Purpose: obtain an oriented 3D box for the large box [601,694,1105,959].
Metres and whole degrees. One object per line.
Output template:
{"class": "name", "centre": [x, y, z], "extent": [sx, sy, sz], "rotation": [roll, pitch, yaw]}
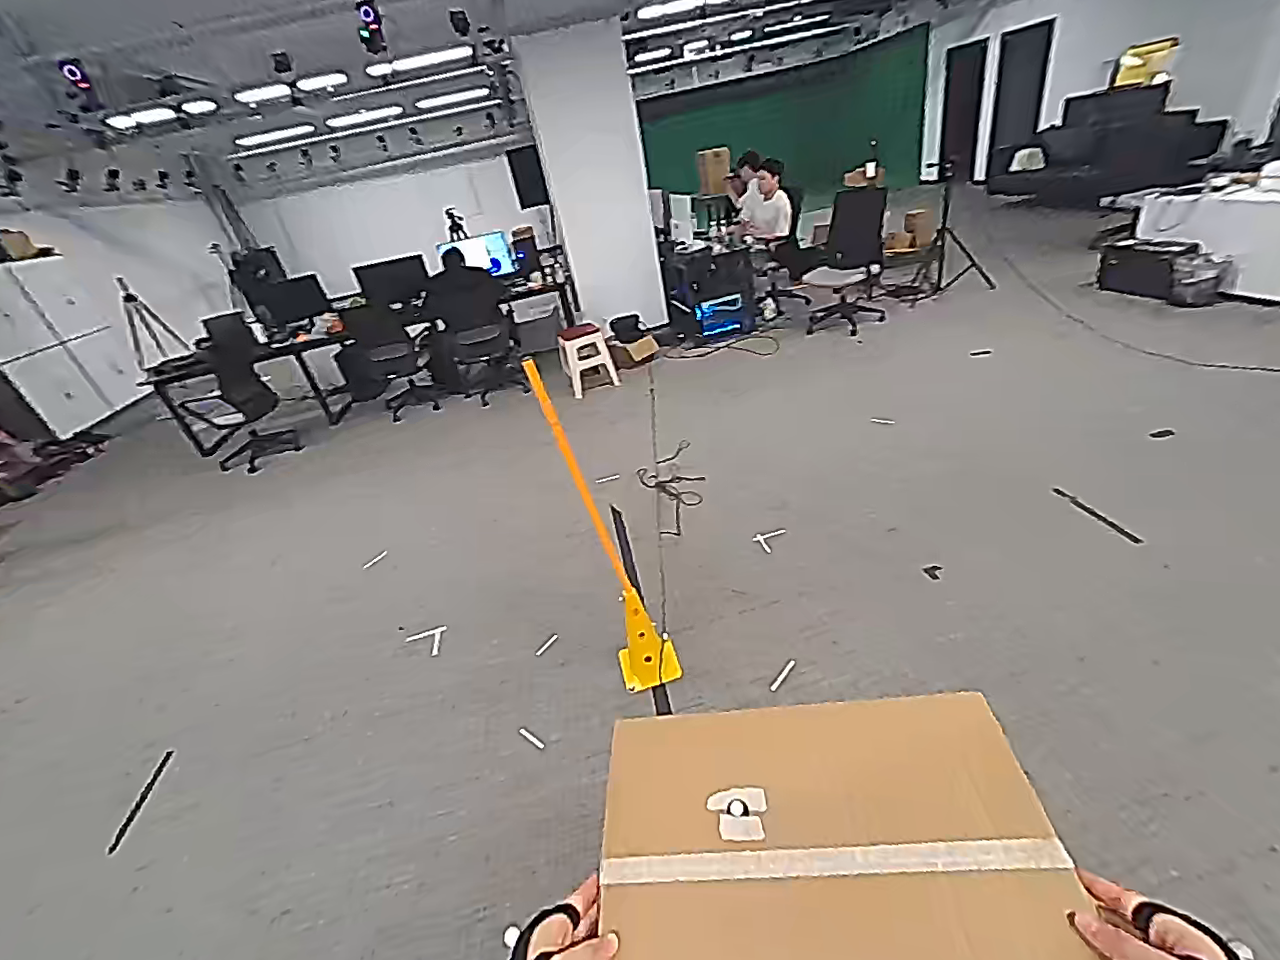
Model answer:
{"class": "large box", "centre": [0.195, 0.474, 0.576], "extent": [0.408, 0.320, 0.320], "rotation": [-10, 33, 9]}
